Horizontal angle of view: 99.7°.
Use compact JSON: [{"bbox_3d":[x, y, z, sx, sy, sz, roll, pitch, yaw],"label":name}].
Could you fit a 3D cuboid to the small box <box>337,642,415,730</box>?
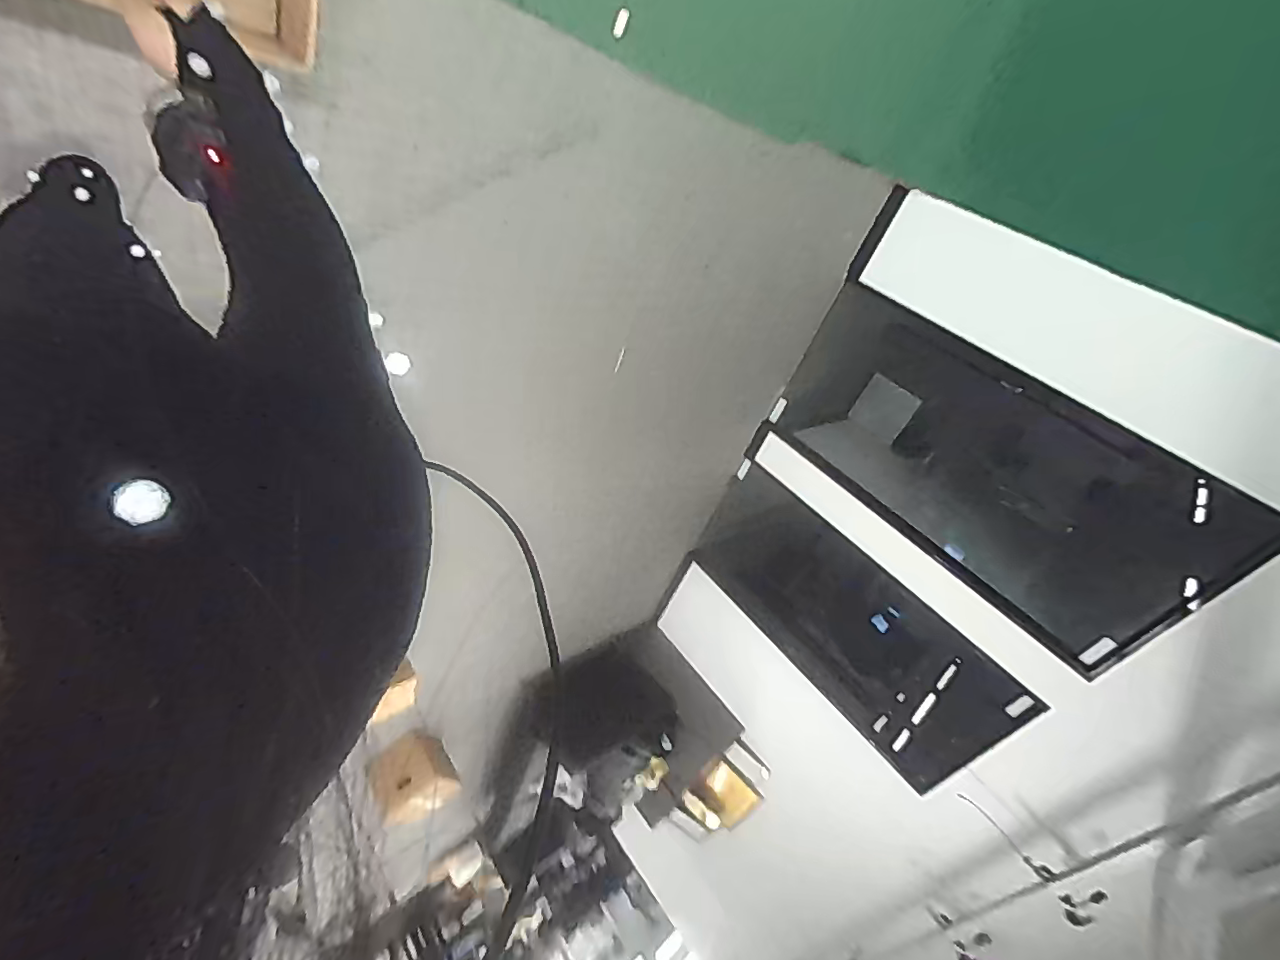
[{"bbox_3d":[-0.861,0.662,1.758,0.179,0.176,0.168,-16,140,-43],"label":"small box"}]
